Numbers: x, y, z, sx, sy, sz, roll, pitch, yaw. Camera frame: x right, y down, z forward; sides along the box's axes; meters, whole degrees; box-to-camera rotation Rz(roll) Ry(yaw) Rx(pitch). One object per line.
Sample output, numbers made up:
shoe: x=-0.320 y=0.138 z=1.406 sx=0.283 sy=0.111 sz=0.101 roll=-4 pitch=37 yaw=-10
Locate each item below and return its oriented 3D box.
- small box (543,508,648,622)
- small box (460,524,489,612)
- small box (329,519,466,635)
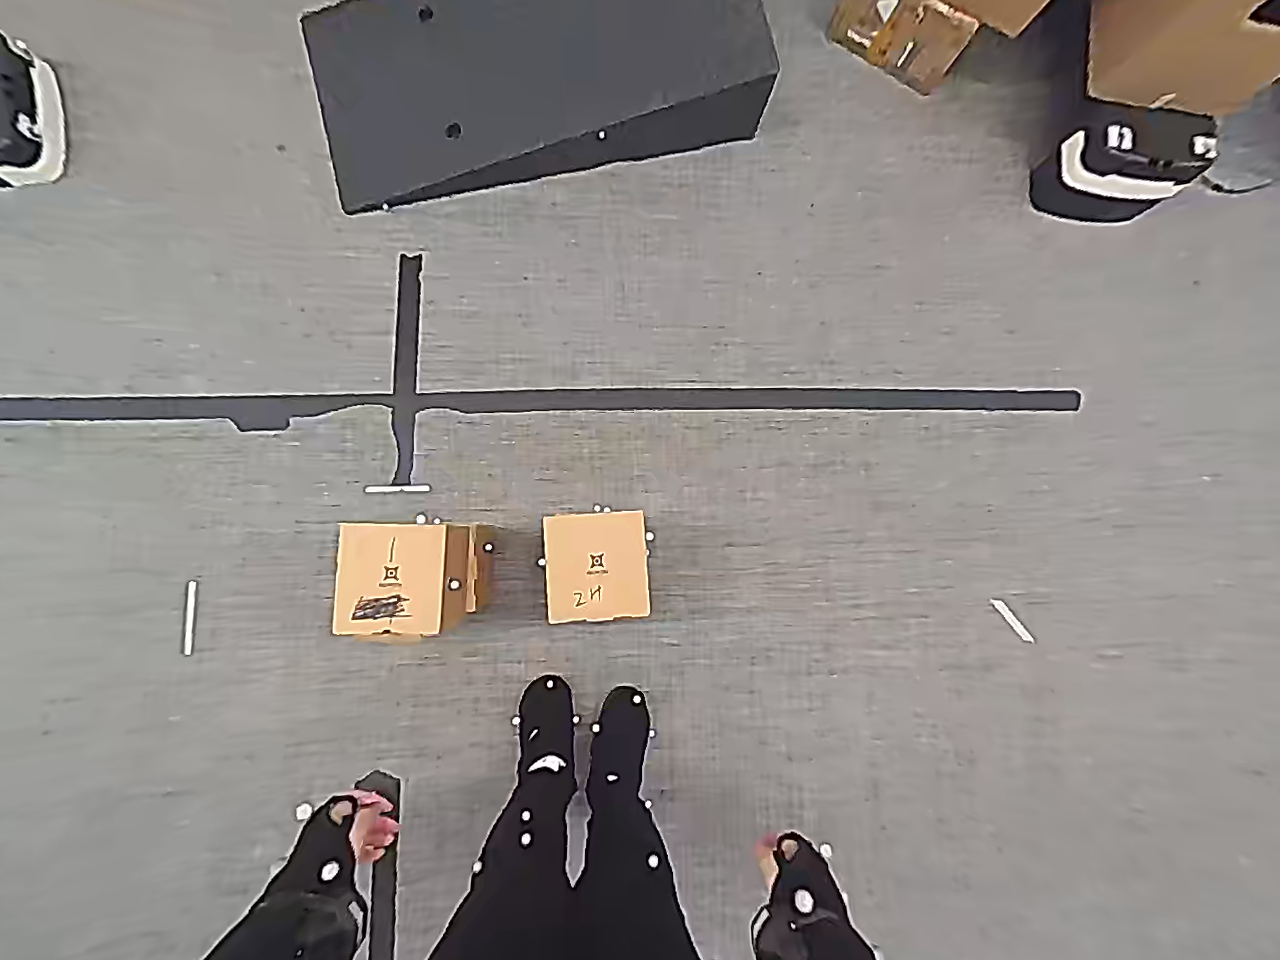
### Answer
small box: x=-0.078 y=0.144 z=0.946 sx=0.168 sy=0.176 sz=0.179 roll=-3 pitch=85 yaw=-4
small box: x=-0.404 y=0.171 z=1.086 sx=0.179 sy=0.176 sz=0.168 roll=-1 pitch=85 yaw=-5
small box: x=-0.401 y=0.159 z=0.922 sx=0.168 sy=0.176 sz=0.179 roll=2 pitch=83 yaw=-5
